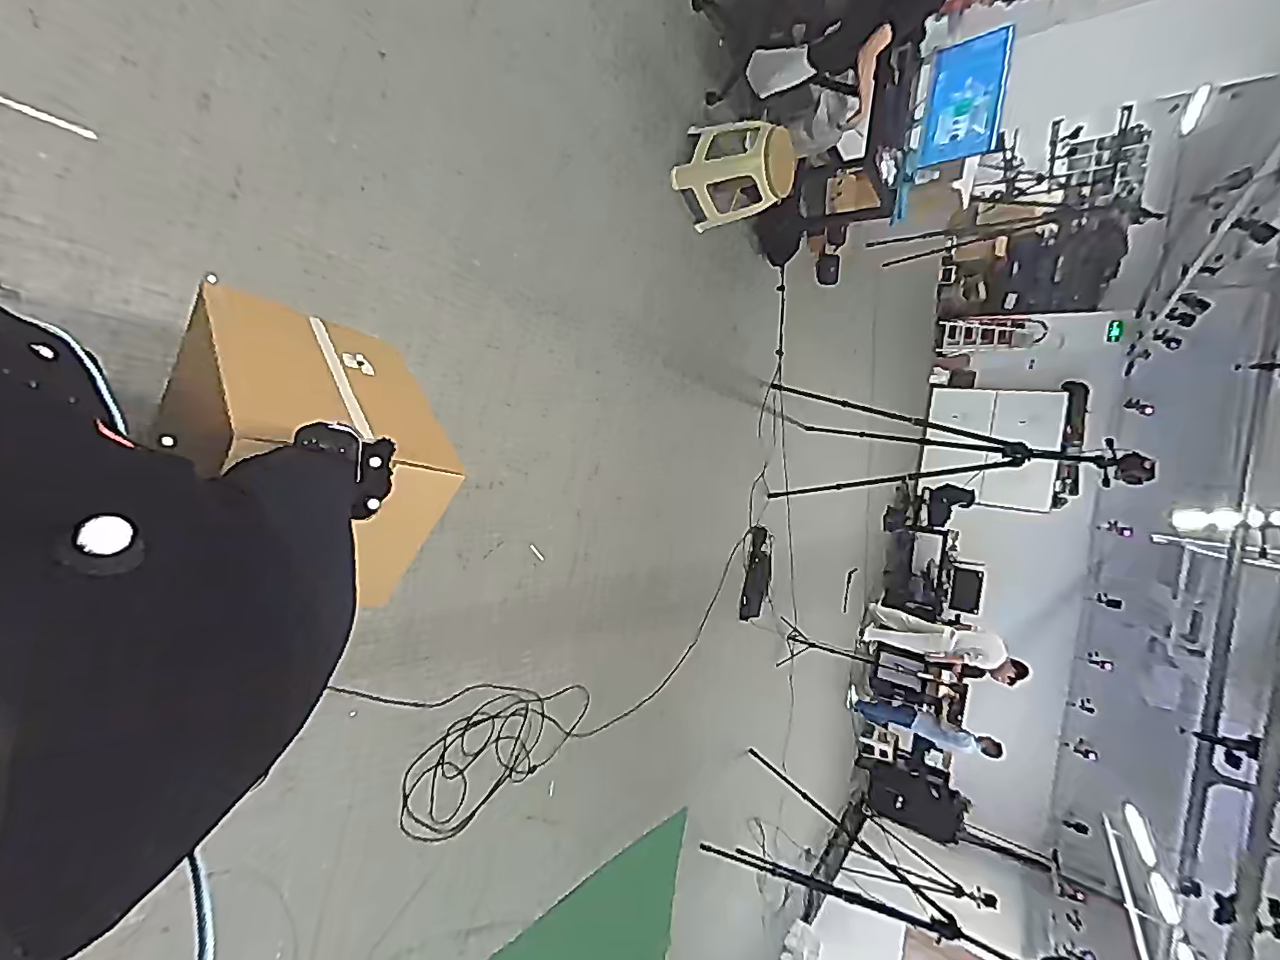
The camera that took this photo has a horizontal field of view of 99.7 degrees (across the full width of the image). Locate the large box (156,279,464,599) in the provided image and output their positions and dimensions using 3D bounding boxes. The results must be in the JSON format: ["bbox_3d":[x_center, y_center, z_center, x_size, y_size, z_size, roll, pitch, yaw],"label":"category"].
[{"bbox_3d":[-0.567,-0.056,0.908,0.320,0.408,0.320,14,120,-51],"label":"large box"}]
